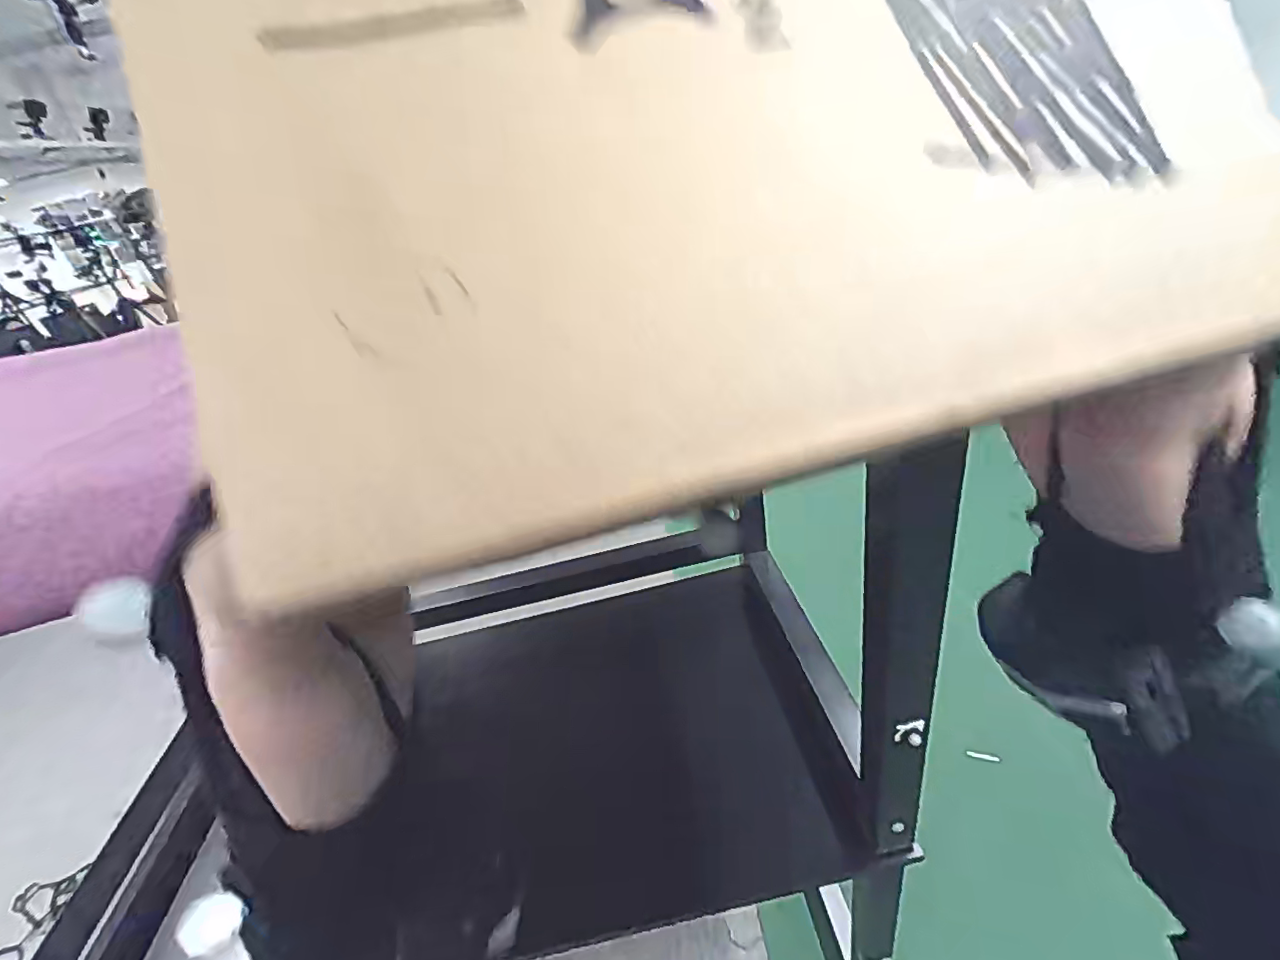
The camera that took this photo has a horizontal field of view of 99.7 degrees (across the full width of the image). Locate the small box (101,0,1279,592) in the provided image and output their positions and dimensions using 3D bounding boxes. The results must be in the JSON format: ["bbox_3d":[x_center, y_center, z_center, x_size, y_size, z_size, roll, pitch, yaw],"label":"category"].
[{"bbox_3d":[0.003,-0.075,0.165,0.179,0.168,0.176,-15,-6,-2],"label":"small box"}]
